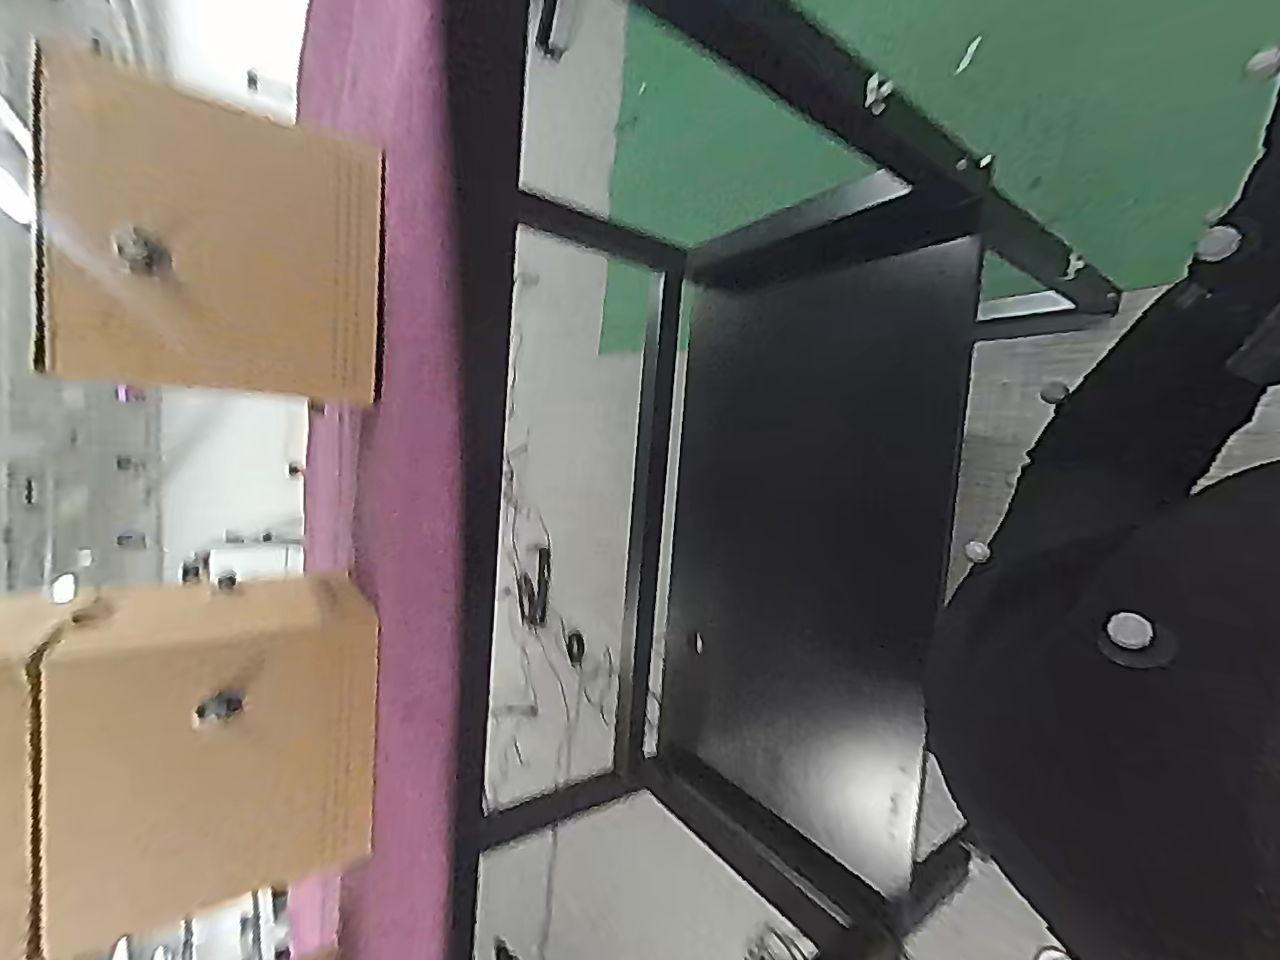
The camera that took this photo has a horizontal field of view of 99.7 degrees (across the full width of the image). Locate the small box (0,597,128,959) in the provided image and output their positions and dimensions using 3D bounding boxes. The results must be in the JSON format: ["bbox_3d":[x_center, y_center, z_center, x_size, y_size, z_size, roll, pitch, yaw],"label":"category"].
[{"bbox_3d":[-0.420,0.179,0.317,0.168,0.176,0.179,3,92,54],"label":"small box"}]

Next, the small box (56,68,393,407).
[{"bbox_3d":[-0.288,-0.147,0.407,0.168,0.176,0.179,11,99,56],"label":"small box"}]

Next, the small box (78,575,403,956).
[{"bbox_3d":[-0.285,0.177,0.409,0.168,0.176,0.179,5,95,55],"label":"small box"}]
